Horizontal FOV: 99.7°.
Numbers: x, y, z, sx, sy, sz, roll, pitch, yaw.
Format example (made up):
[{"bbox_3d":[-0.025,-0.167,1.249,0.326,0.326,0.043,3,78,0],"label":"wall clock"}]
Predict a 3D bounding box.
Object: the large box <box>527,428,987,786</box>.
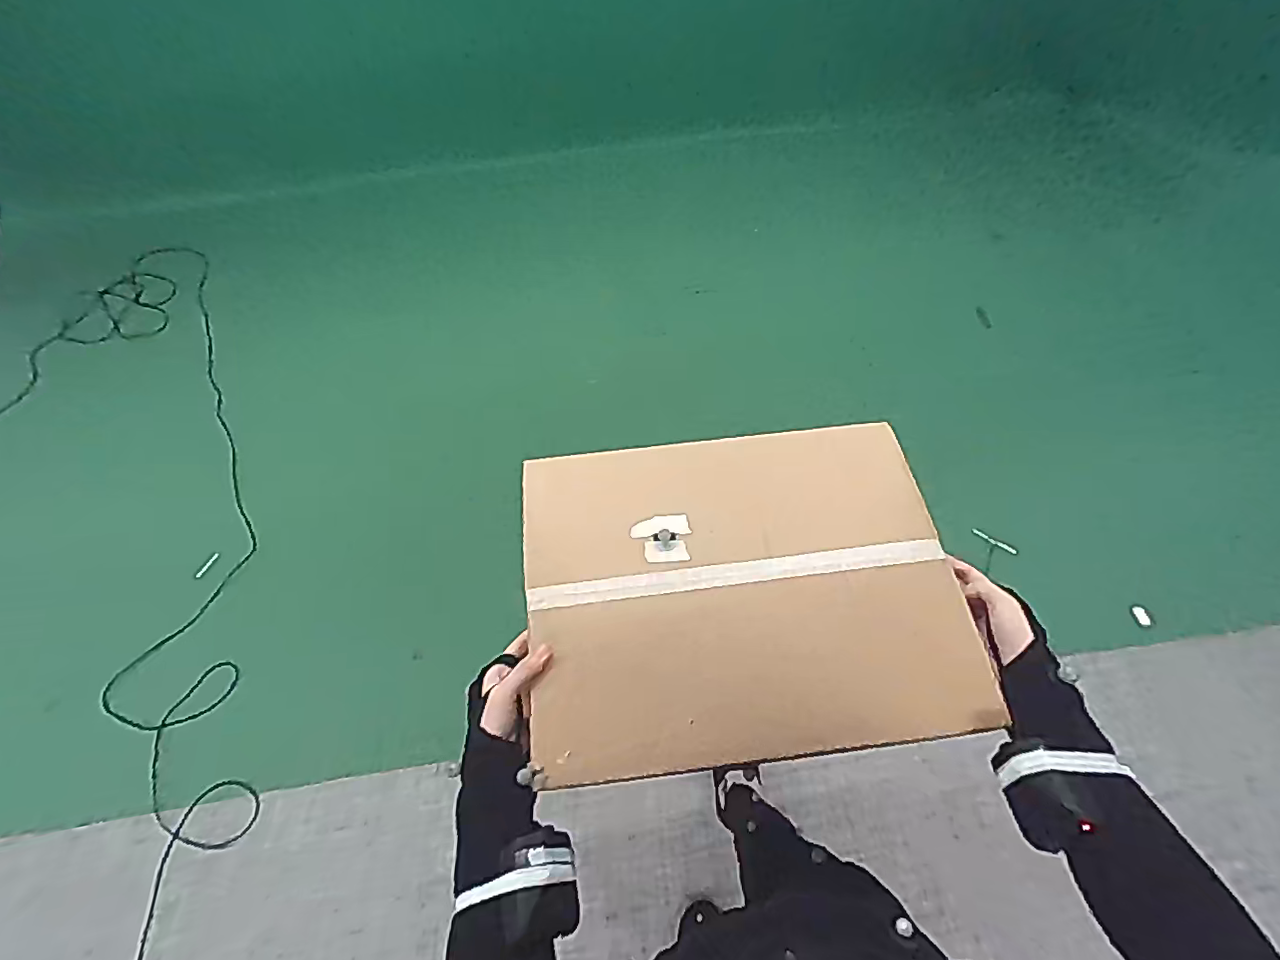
[{"bbox_3d":[0.098,0.169,0.667,0.408,0.320,0.320,-7,61,-2],"label":"large box"}]
